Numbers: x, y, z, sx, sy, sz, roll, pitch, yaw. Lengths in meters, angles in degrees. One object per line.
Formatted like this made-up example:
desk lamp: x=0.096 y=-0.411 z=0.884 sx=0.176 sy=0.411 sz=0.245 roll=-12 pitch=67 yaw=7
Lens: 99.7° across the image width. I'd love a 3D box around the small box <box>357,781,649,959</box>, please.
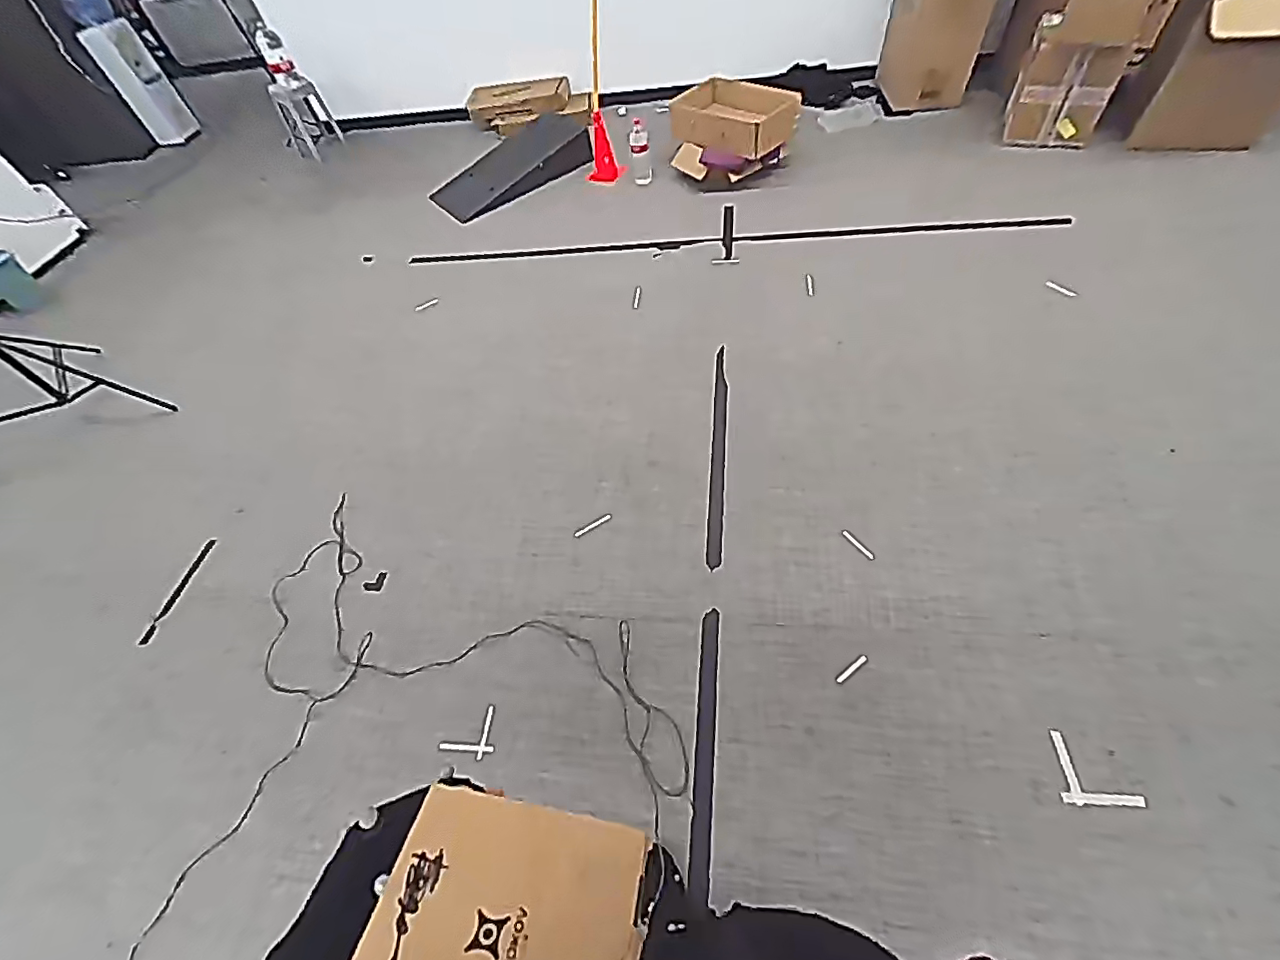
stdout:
small box: x=-0.100 y=0.367 z=0.410 sx=0.179 sy=0.176 sz=0.168 roll=11 pitch=37 yaw=4
